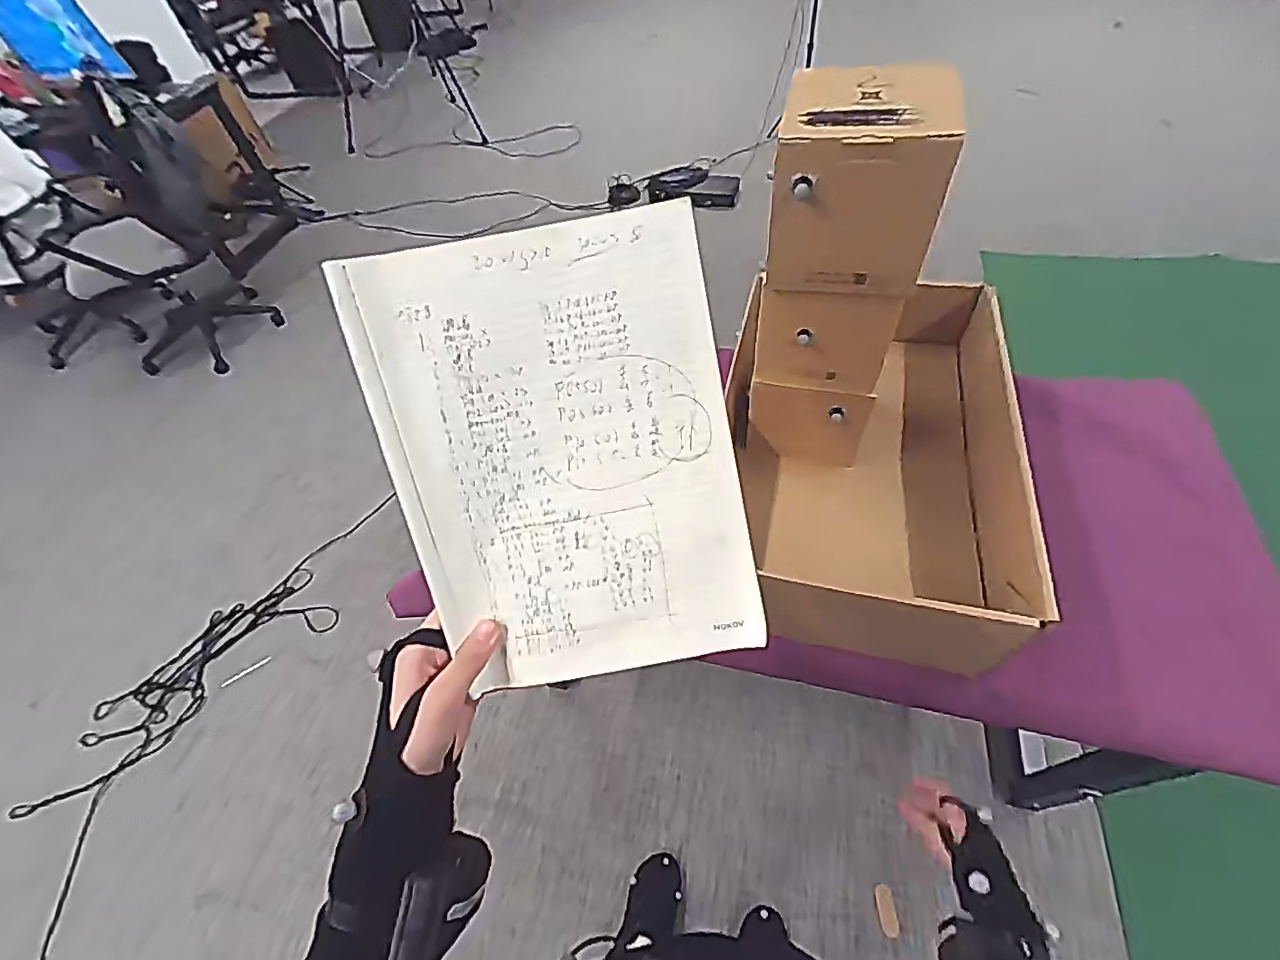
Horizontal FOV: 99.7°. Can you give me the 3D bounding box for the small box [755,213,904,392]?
[{"bbox_3d":[0.256,-0.243,0.750,0.168,0.176,0.179,10,56,15],"label":"small box"}]
